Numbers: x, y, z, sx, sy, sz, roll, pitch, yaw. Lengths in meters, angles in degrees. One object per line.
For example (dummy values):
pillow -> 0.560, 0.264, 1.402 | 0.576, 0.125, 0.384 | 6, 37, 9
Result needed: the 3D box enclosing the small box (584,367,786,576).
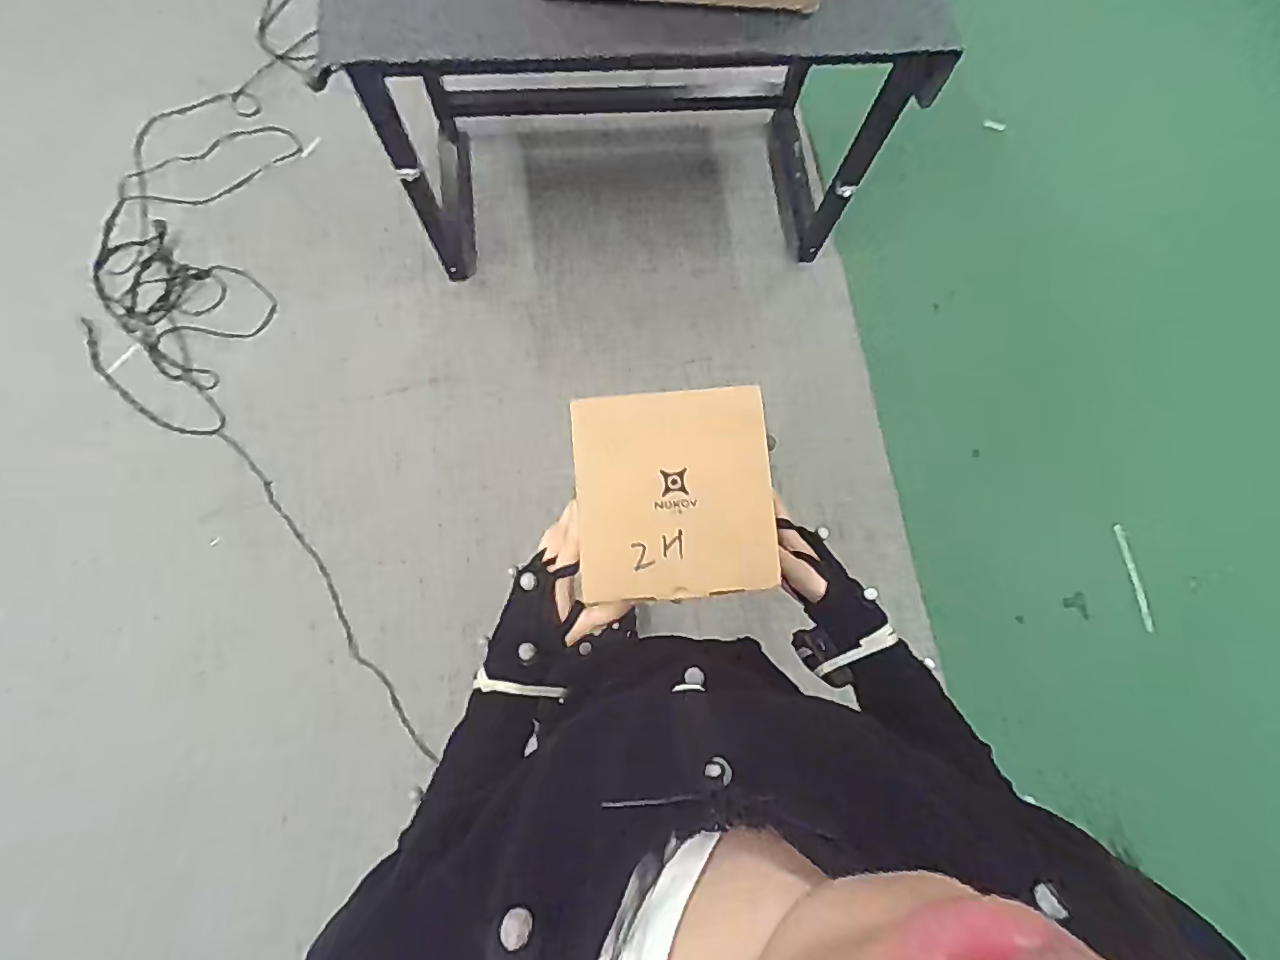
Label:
small box -> 0.035, 0.002, 0.535 | 0.168, 0.176, 0.179 | -4, 82, 0
